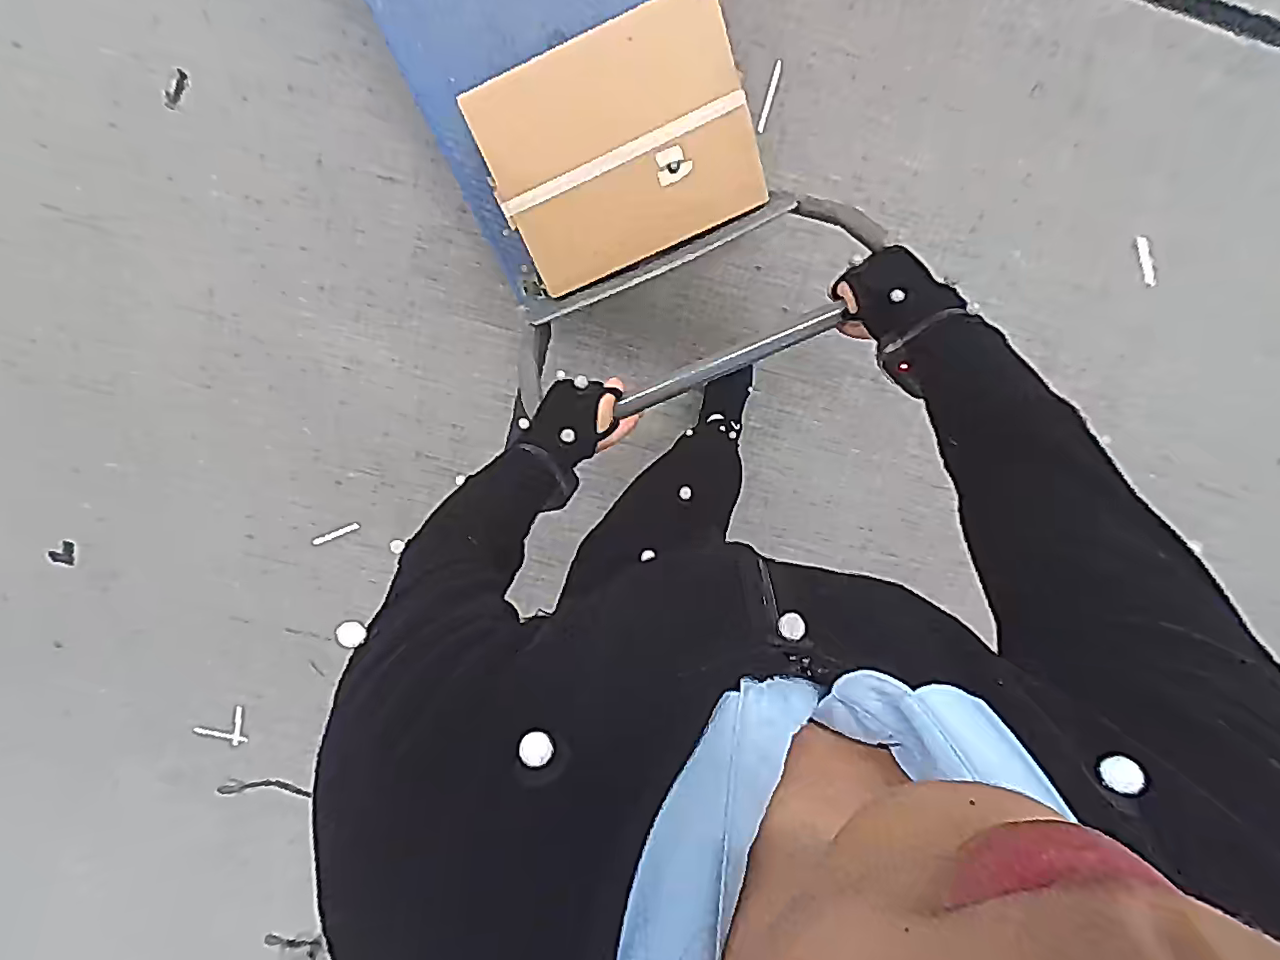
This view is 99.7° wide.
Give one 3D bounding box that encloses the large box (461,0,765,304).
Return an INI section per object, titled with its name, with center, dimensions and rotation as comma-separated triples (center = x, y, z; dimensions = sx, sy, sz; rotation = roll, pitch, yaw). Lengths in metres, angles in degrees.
[large box]
center = -0.048, -0.571, 0.979
dimensions = 0.408, 0.320, 0.320
rotation = -24, 120, 5
